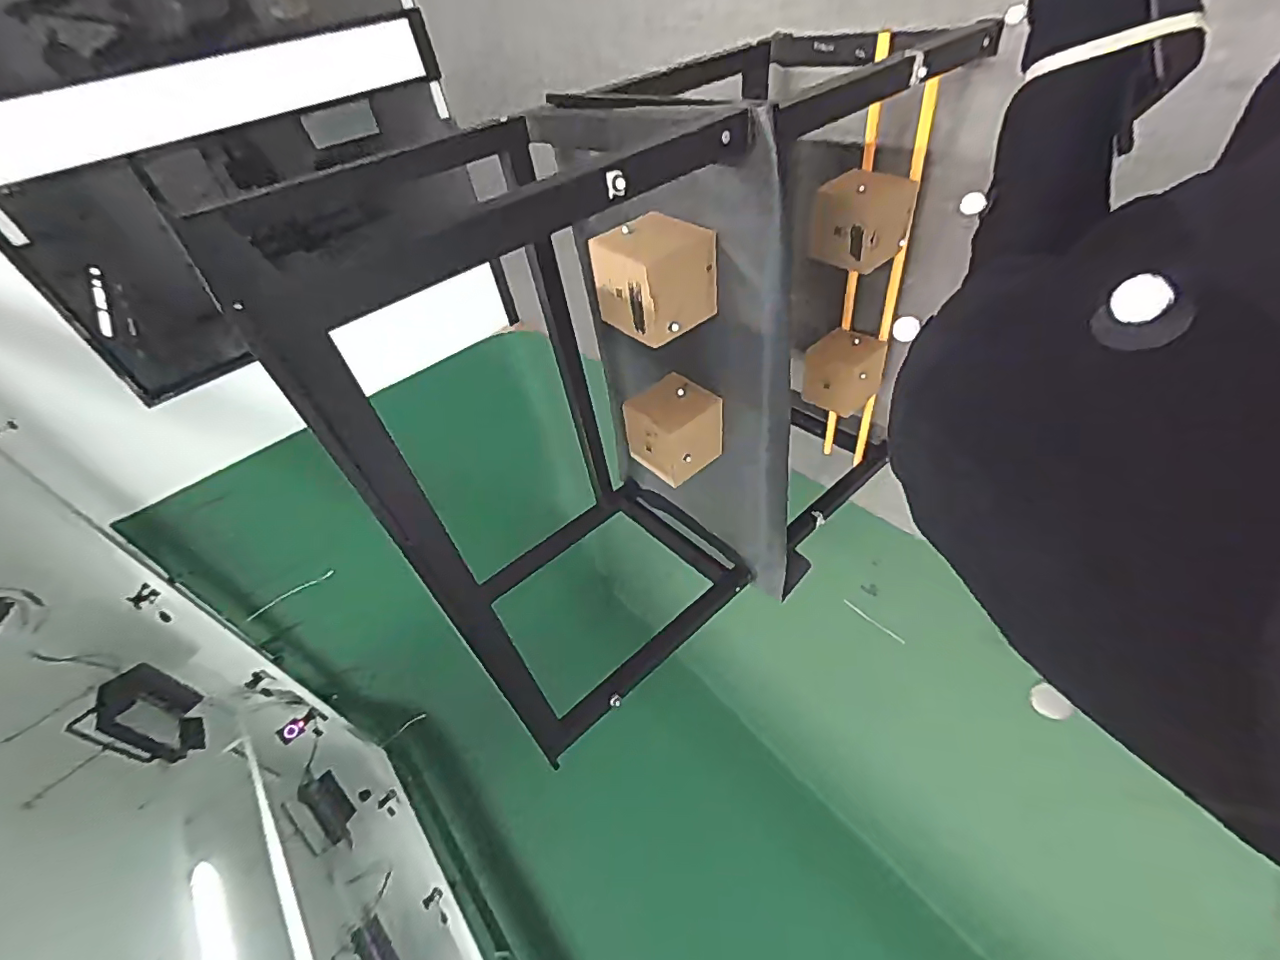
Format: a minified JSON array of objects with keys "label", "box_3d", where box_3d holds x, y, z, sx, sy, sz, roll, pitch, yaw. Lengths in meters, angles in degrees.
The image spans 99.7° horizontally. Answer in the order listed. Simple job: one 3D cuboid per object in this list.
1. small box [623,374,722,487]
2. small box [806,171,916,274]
[{"label":"small box","box_3d":[0.083,-0.123,1.300,0.168,0.176,0.179,37,150,34]},{"label":"small box","box_3d":[0.539,-0.637,1.325,0.179,0.176,0.168,37,150,34]}]
